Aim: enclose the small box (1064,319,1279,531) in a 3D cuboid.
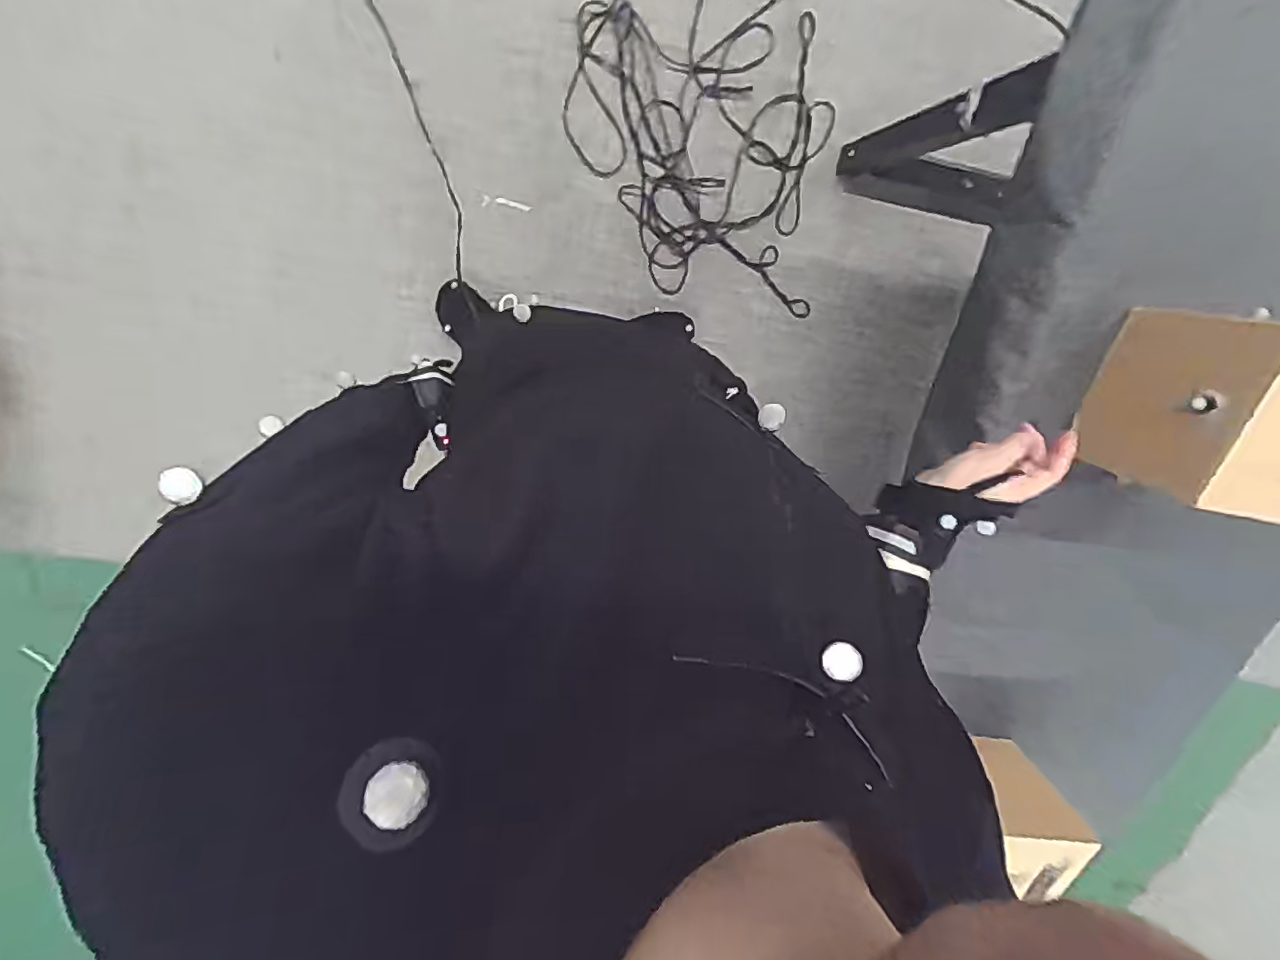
[{"bbox_3d":[0.612,-0.063,0.573,0.168,0.176,0.179,9,111,-9],"label":"small box"}]
